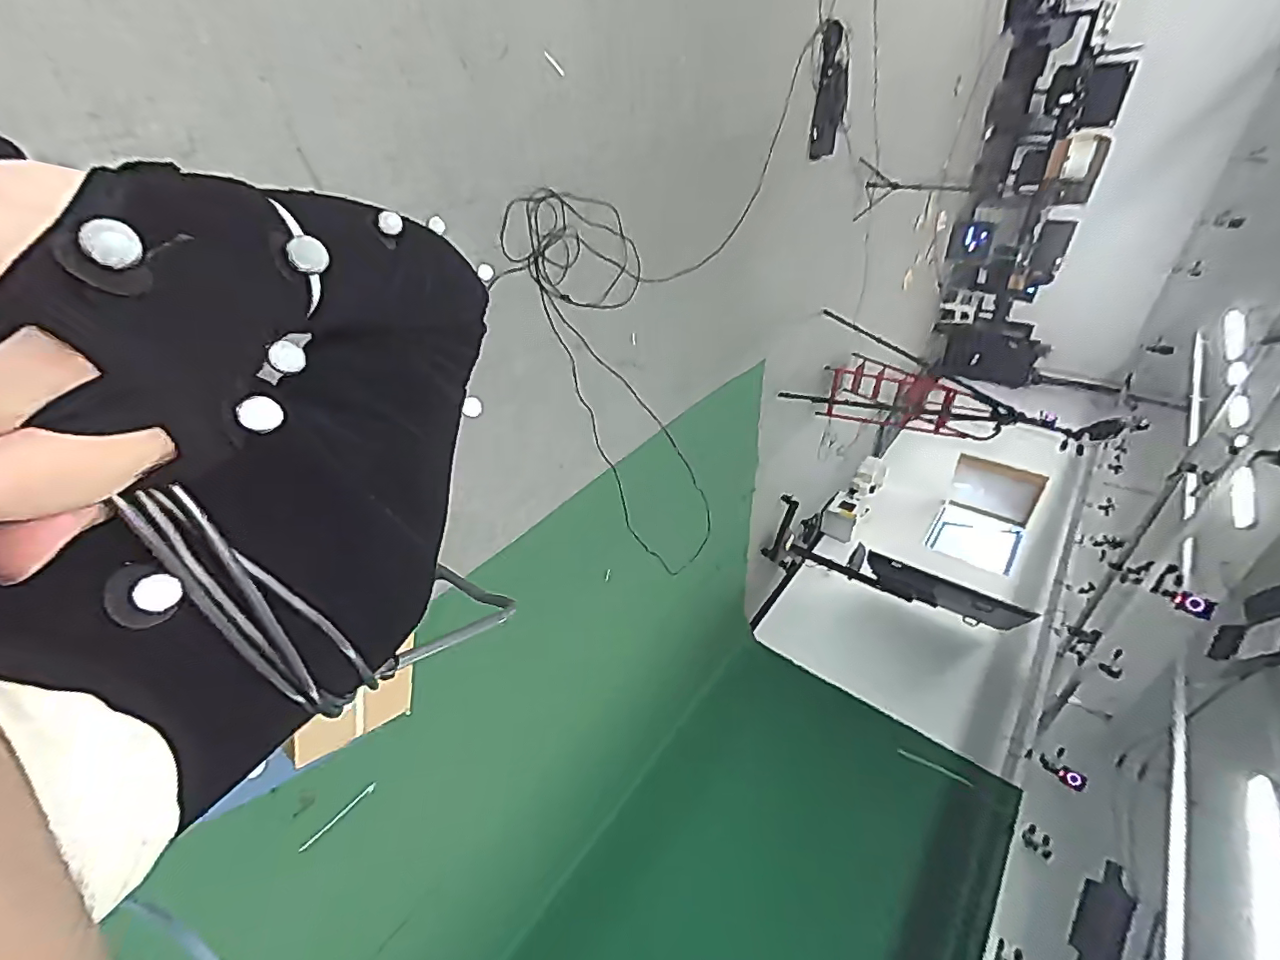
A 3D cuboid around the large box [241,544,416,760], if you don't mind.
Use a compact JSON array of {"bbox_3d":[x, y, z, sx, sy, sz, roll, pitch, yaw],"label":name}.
[{"bbox_3d":[-0.845,0.444,1.479,0.320,0.320,0.408,-14,122,-52],"label":"large box"}]
